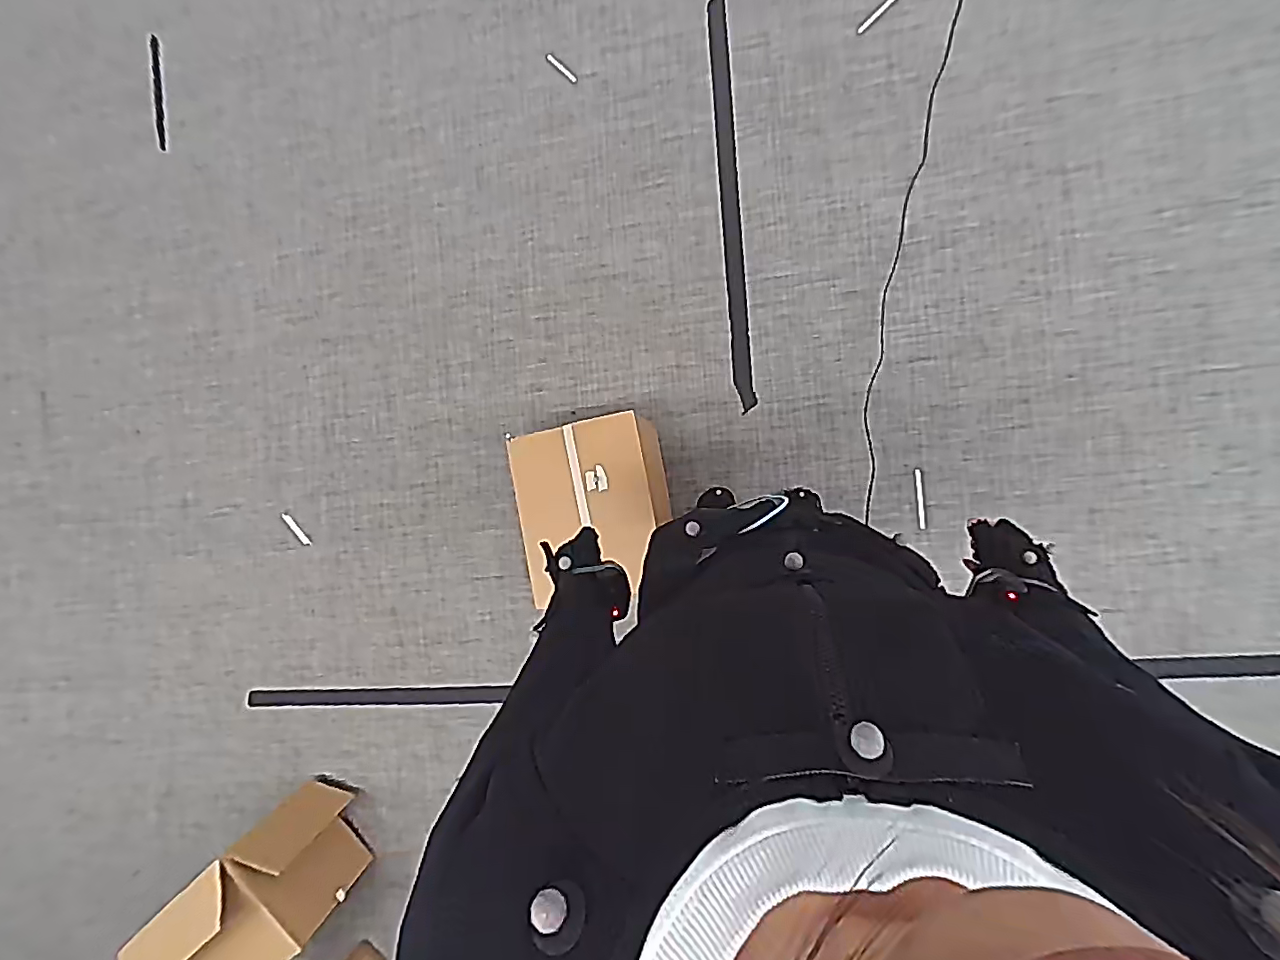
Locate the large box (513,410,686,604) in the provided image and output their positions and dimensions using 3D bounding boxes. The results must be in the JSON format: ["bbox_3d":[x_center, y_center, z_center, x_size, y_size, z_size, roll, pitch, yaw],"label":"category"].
[{"bbox_3d":[-0.085,0.070,1.378,0.320,0.320,0.408,-11,86,10],"label":"large box"}]
